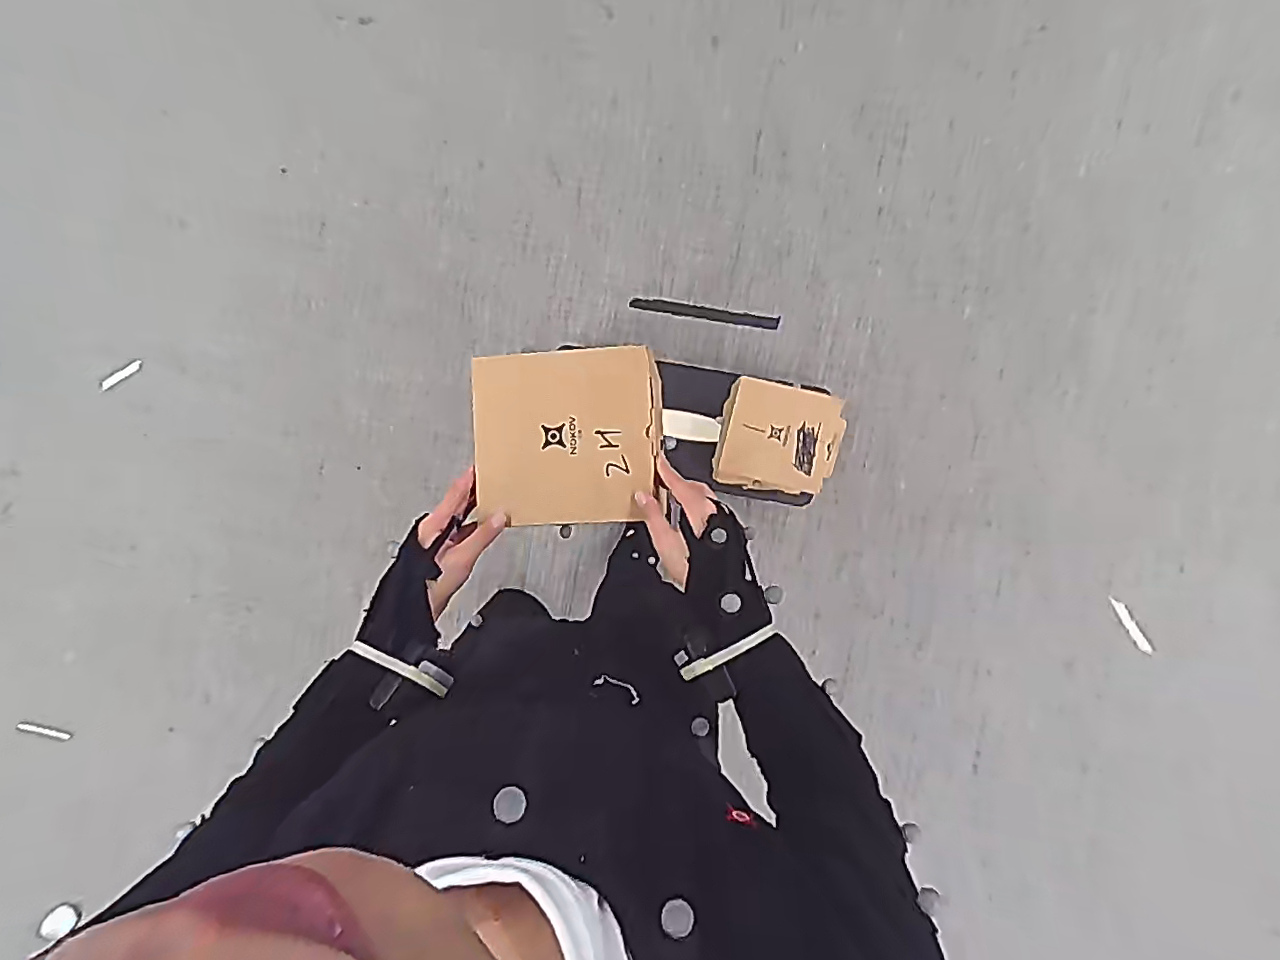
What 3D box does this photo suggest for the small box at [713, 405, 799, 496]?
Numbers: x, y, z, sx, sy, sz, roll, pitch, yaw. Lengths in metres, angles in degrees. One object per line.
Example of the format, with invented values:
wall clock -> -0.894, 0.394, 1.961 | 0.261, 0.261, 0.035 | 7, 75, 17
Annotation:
small box -> 0.251, -0.070, 1.142 | 0.168, 0.176, 0.179 | 9, 94, 3

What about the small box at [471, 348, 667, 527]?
small box -> -0.065, -0.036, 0.584 | 0.179, 0.176, 0.168 | -3, 89, 5

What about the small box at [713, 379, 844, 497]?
small box -> 0.238, -0.076, 0.978 | 0.179, 0.176, 0.168 | 14, 94, 4
